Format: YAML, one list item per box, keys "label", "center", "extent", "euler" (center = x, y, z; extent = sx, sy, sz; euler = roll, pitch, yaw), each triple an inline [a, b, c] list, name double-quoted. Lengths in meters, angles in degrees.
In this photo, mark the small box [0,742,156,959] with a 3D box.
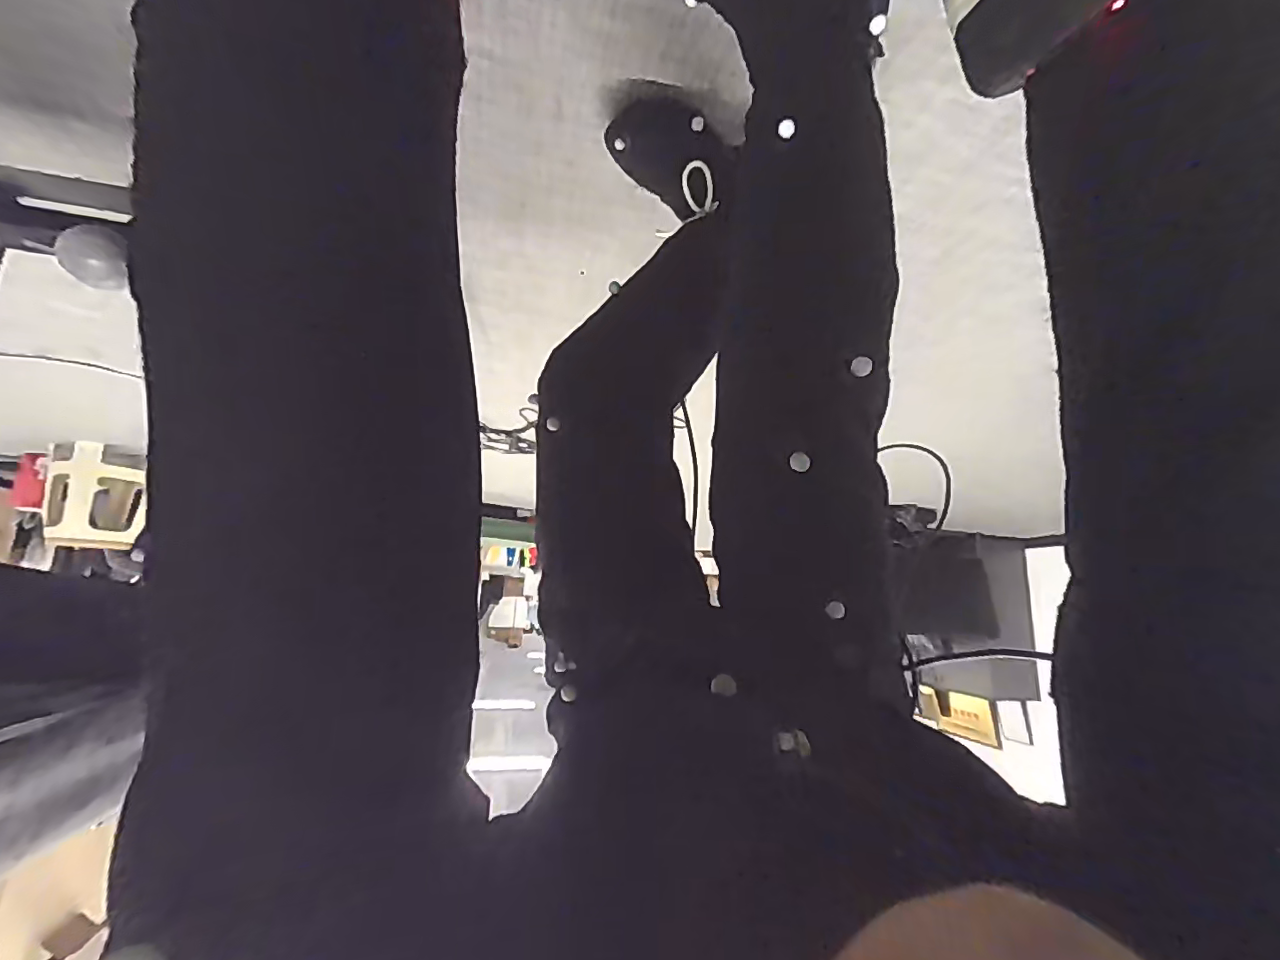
- label: "small box"
  center: [-0.570, 0.326, 0.454]
  extent: [0.179, 0.176, 0.168]
  euler: [5, 166, -10]
